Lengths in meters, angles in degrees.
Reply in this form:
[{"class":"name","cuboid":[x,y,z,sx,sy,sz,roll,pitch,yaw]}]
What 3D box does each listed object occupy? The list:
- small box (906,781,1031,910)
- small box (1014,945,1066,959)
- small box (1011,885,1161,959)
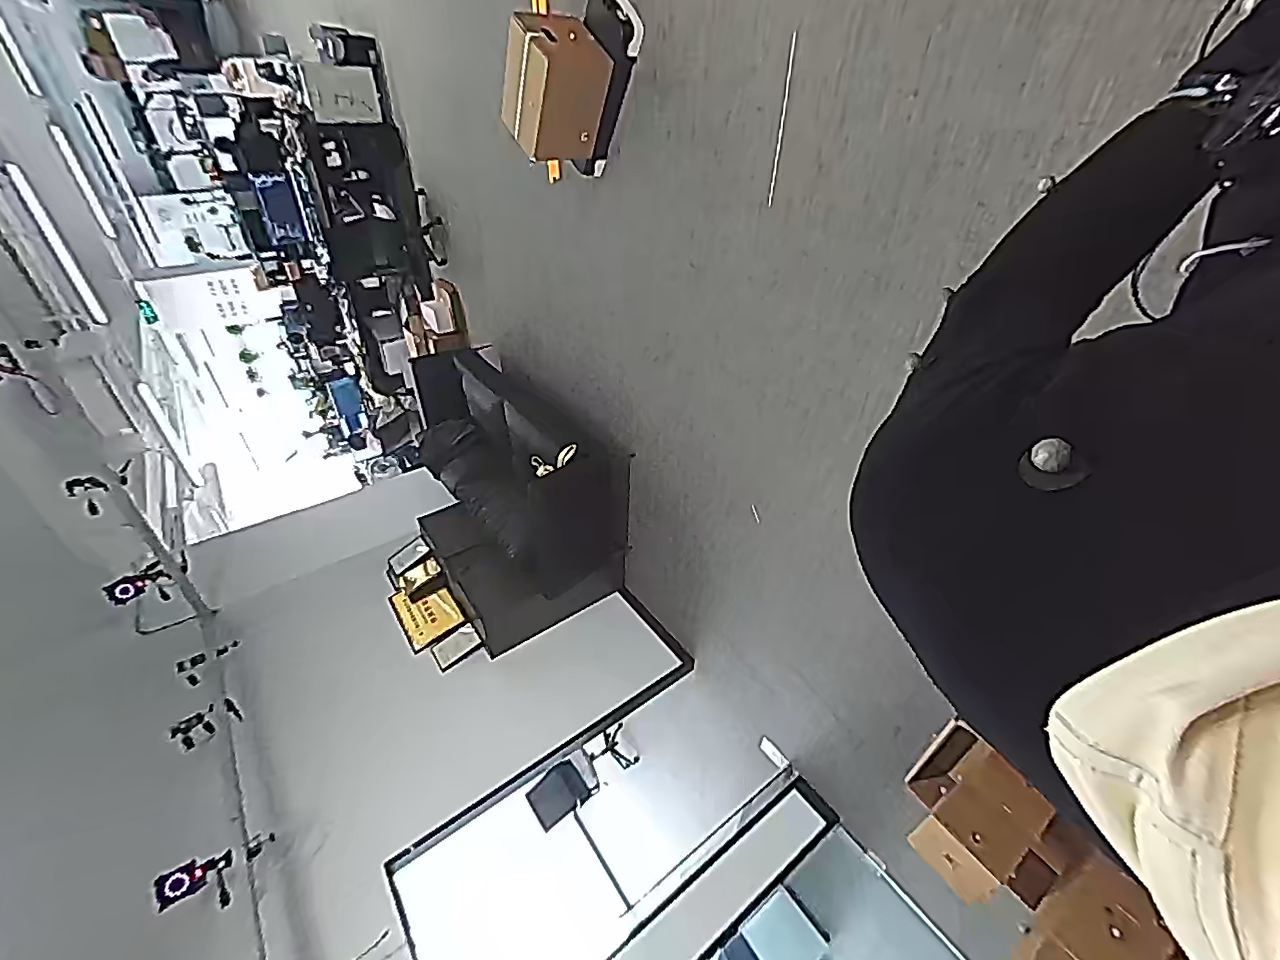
[{"class":"small box","cuboid":[0.801,0.885,1.318,0.179,0.176,0.168,43,141,37]},{"class":"small box","cuboid":[0.823,1.086,1.079,0.168,0.176,0.179,41,142,39]},{"class":"small box","cuboid":[0.953,1.023,1.157,0.168,0.176,0.179,41,142,38]}]
